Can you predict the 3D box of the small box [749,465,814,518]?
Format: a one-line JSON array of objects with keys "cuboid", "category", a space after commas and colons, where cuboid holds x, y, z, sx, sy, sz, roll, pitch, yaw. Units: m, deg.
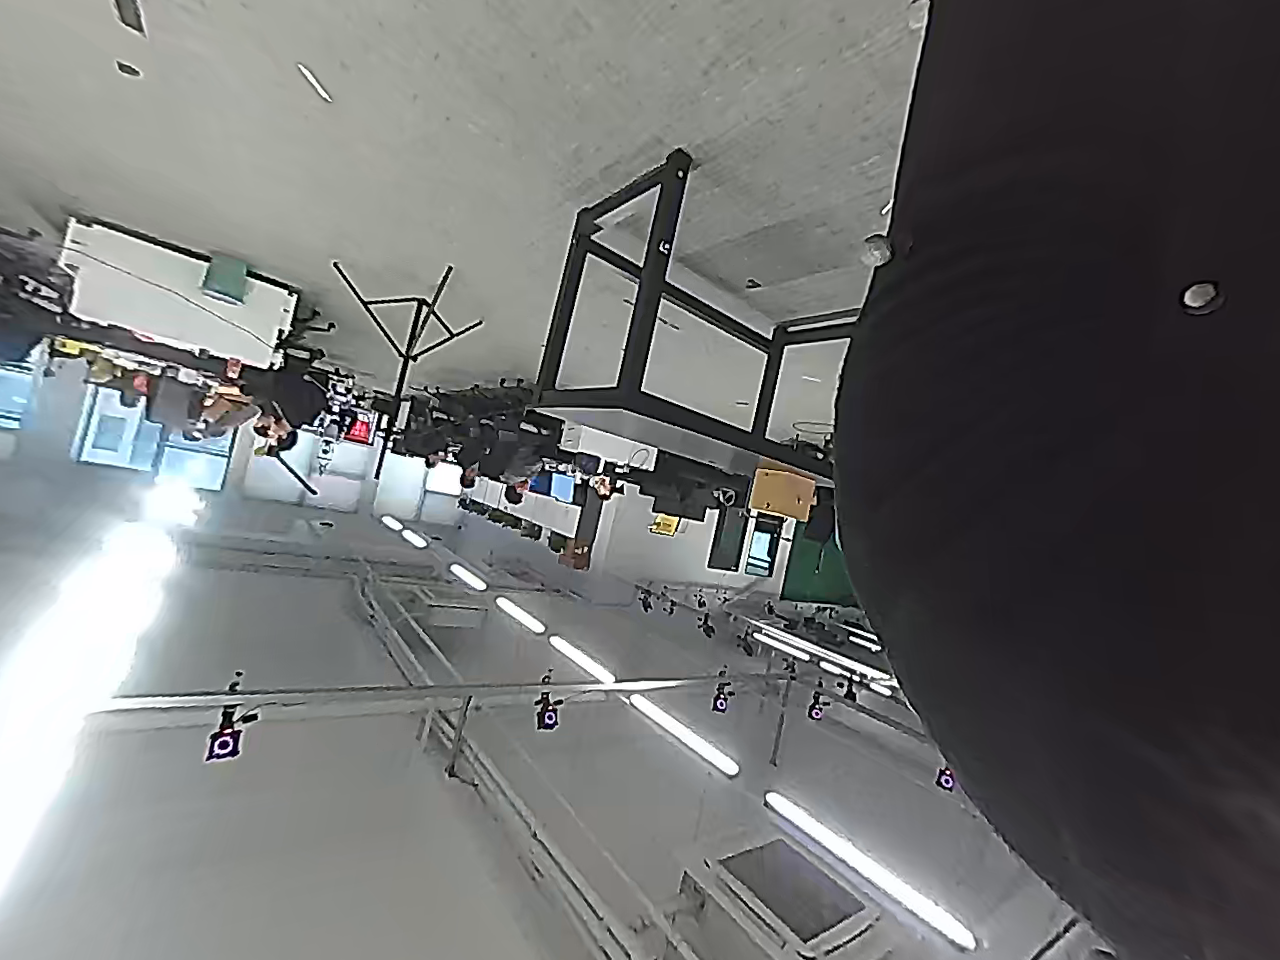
[{"cuboid": [0.568, 0.044, 2.156, 0.179, 0.176, 0.168, 13, 178, -35], "category": "small box"}]
